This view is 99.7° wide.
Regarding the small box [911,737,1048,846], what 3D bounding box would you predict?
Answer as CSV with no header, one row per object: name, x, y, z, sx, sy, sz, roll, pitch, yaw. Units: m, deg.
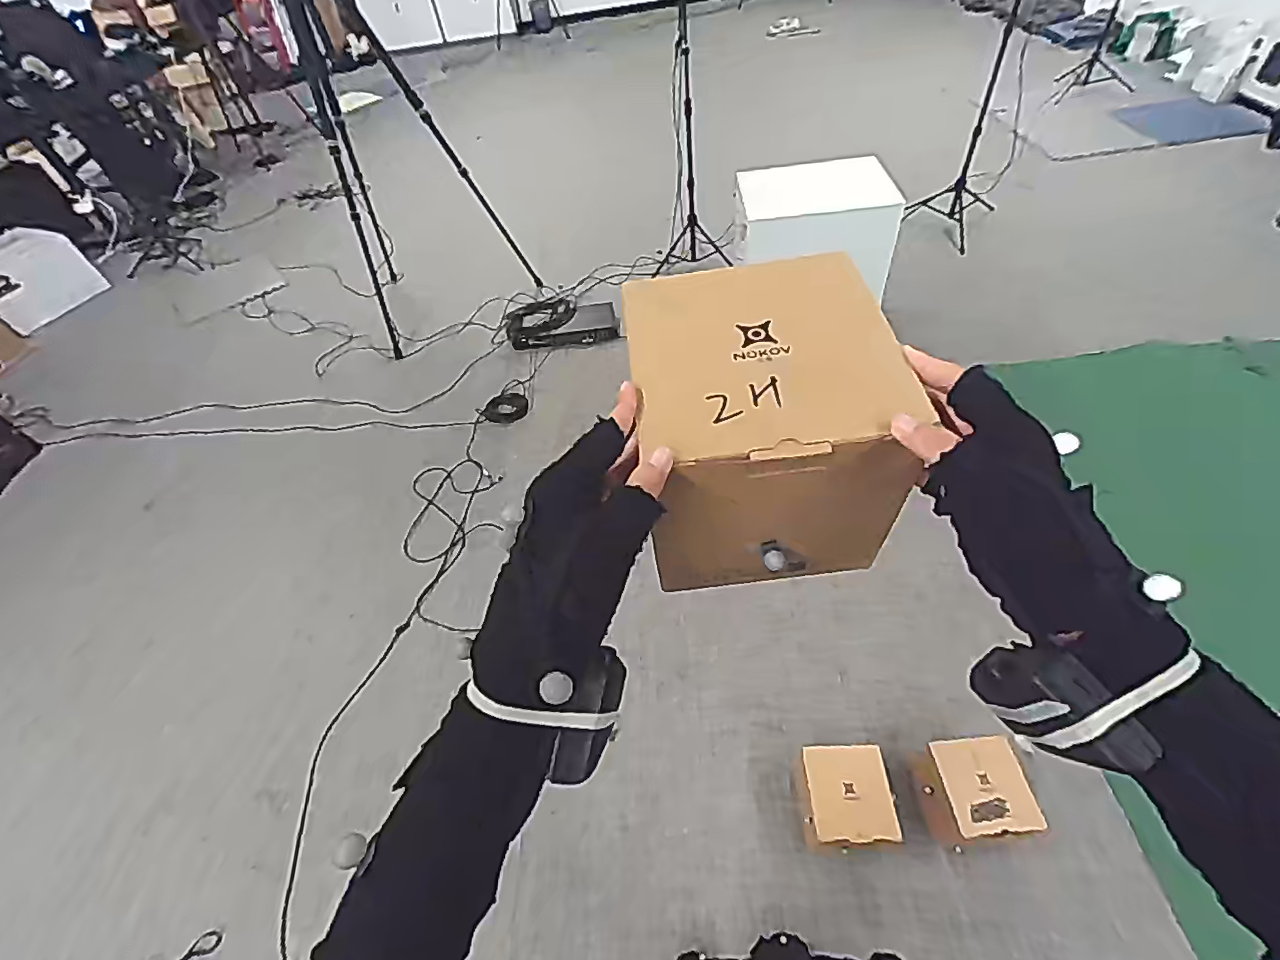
small box,0.707,0.668,1.151,0.168,0.176,0.179,-6,49,3

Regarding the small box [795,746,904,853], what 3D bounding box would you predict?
small box,0.440,0.693,1.170,0.168,0.176,0.179,-4,50,5
